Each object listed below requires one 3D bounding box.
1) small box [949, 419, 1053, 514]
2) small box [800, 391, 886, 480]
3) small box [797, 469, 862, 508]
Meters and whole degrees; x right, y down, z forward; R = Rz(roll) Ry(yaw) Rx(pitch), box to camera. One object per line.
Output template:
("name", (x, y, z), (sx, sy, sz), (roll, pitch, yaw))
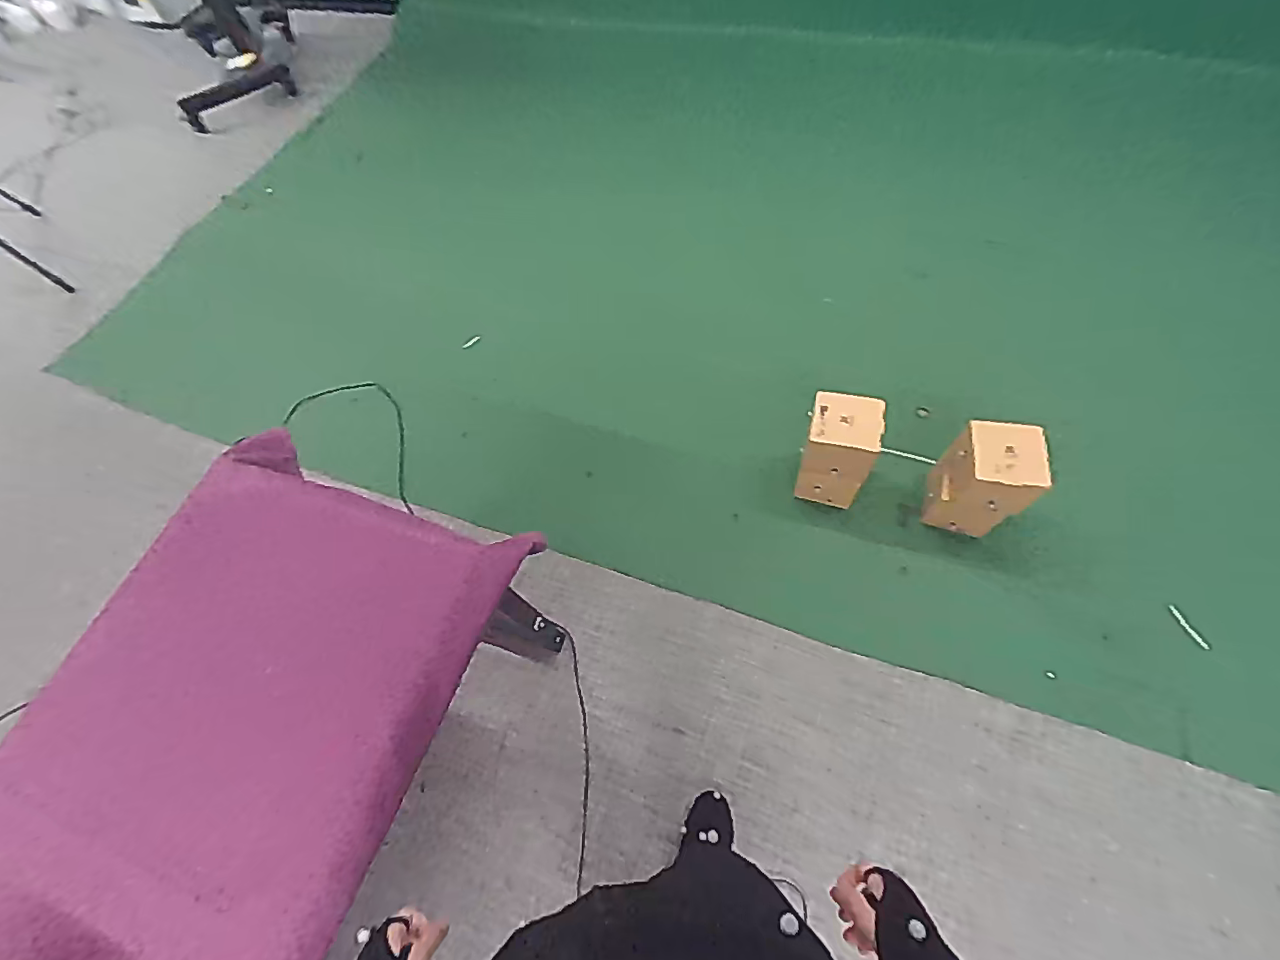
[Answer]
("small box", (0.911, -0.032, 1.383), (0.168, 0.176, 0.179), (7, 64, 11))
("small box", (0.550, -0.115, 1.477), (0.179, 0.176, 0.168), (12, 64, 13))
("small box", (0.574, -0.037, 1.619), (0.168, 0.176, 0.179), (14, 64, 15))
